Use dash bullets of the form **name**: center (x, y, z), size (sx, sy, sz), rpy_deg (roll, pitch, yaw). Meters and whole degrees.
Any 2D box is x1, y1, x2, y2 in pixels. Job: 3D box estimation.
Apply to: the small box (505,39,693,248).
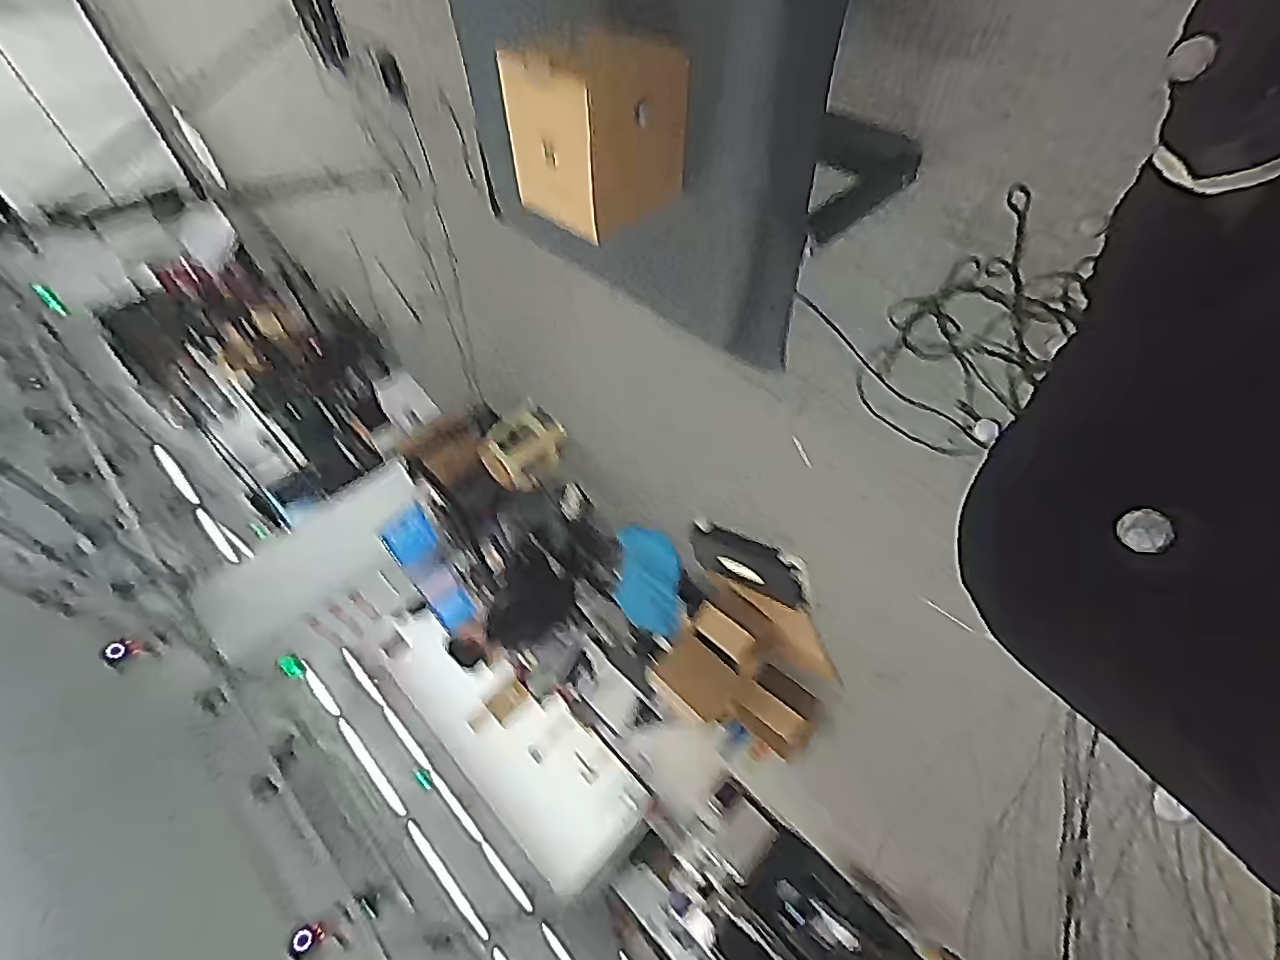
- **small box**: center (-0.046, -0.446, 0.710), size (0.168, 0.176, 0.179), rpy_deg (38, 152, 27)
